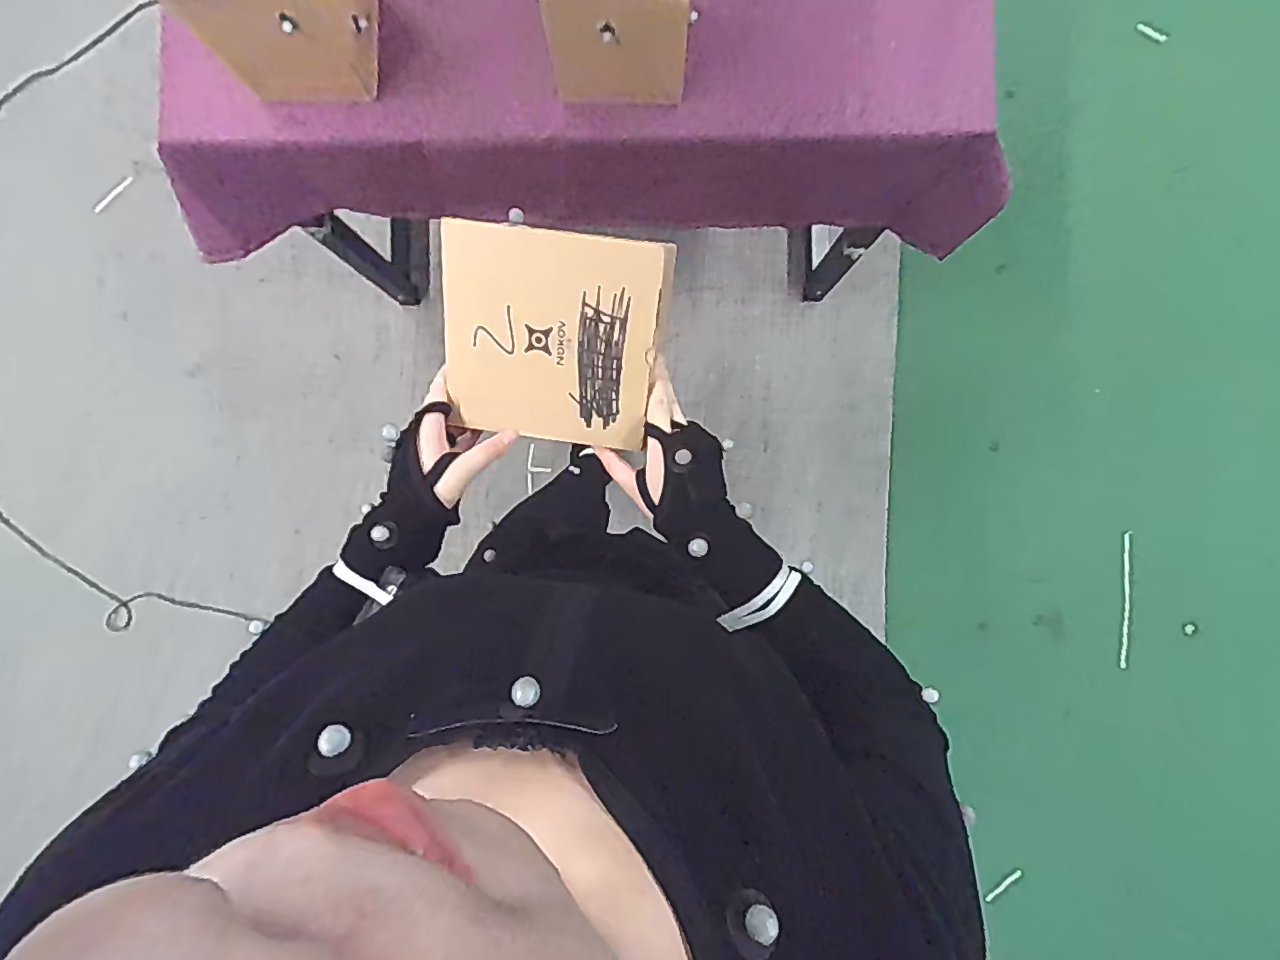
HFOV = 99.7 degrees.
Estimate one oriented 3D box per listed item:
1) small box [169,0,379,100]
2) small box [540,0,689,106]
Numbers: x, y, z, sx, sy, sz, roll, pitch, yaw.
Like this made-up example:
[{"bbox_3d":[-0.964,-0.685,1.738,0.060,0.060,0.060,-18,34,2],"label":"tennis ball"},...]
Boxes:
[{"bbox_3d":[-0.466,-0.630,0.700,0.179,0.176,0.168,0,88,-1],"label":"small box"},{"bbox_3d":[-0.025,-0.622,0.700,0.179,0.176,0.168,2,89,0],"label":"small box"}]
